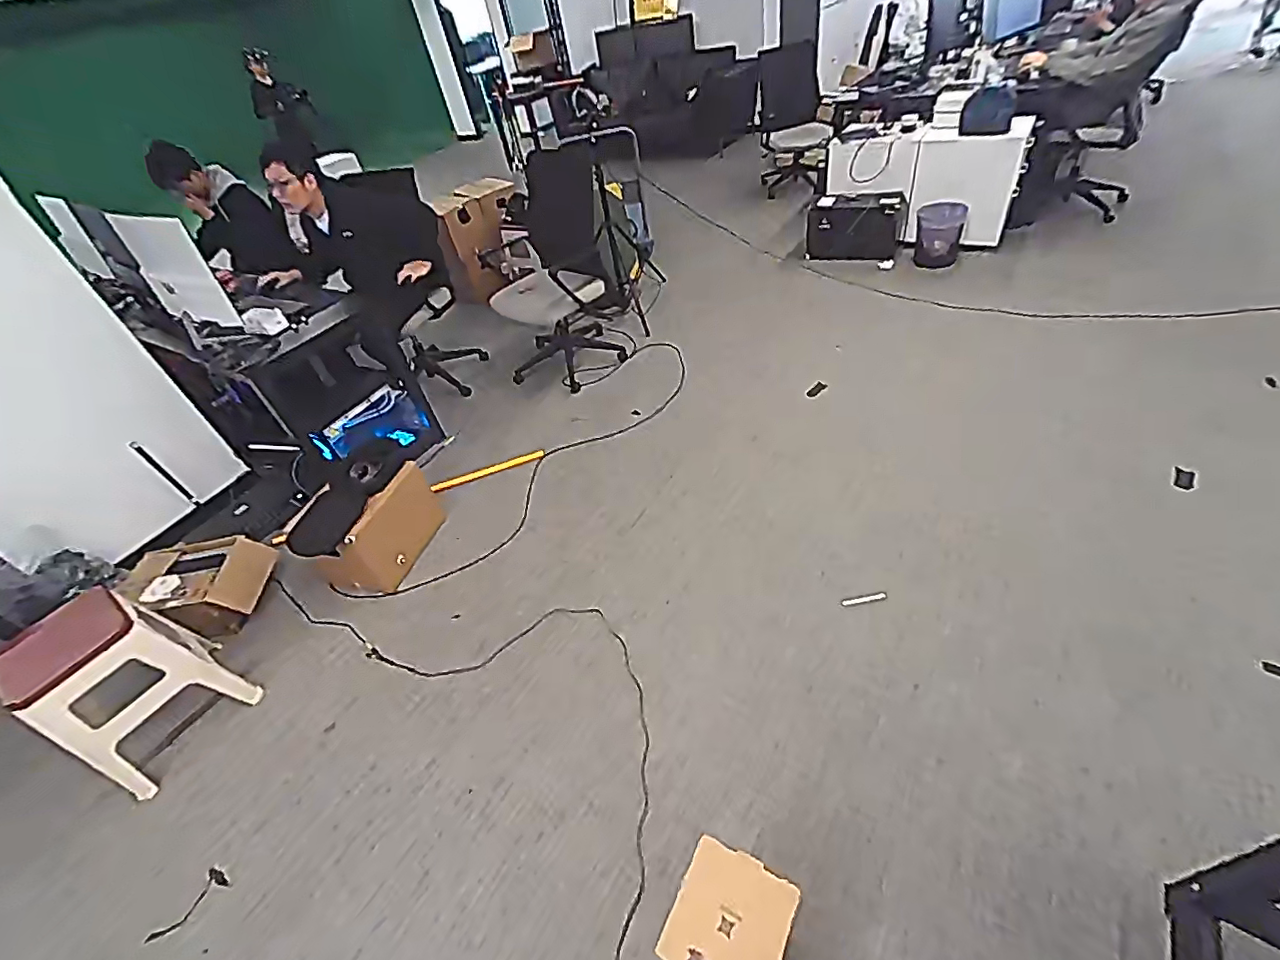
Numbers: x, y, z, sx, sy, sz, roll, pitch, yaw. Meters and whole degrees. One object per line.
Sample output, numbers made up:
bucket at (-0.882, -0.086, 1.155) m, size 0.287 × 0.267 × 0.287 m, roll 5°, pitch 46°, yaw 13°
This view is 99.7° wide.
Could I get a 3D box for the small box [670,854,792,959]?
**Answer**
small box at (0.169, 0.829, 0.975) m, size 0.168 × 0.176 × 0.179 m, roll 13°, pitch 46°, yaw 24°
